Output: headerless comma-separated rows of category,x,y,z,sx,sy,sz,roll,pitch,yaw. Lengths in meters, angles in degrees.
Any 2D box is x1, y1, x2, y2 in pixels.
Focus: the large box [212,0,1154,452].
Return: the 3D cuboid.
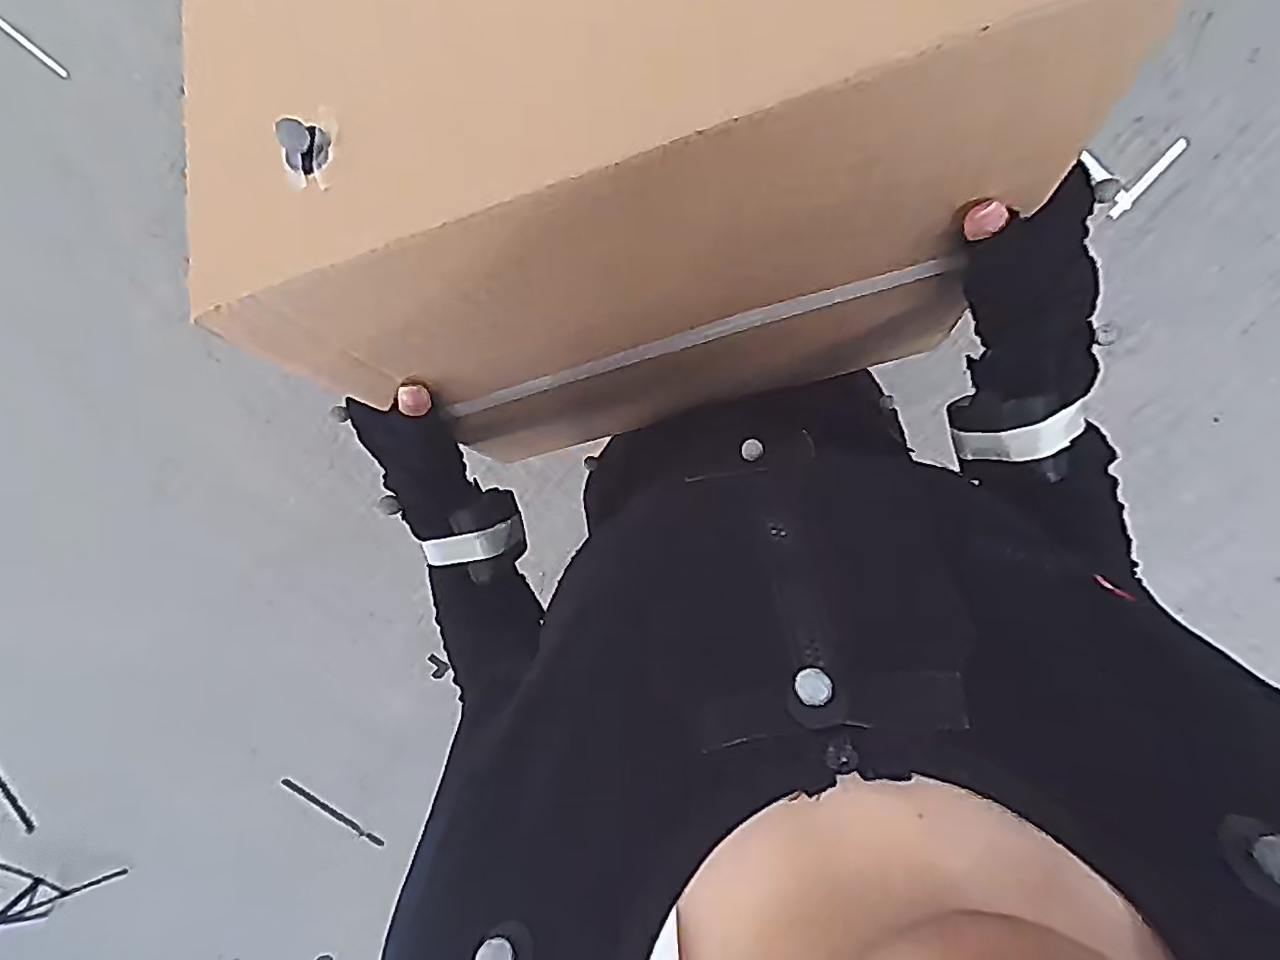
large box,-0.004,-0.246,0.389,0.408,0.320,0.320,-14,78,9
